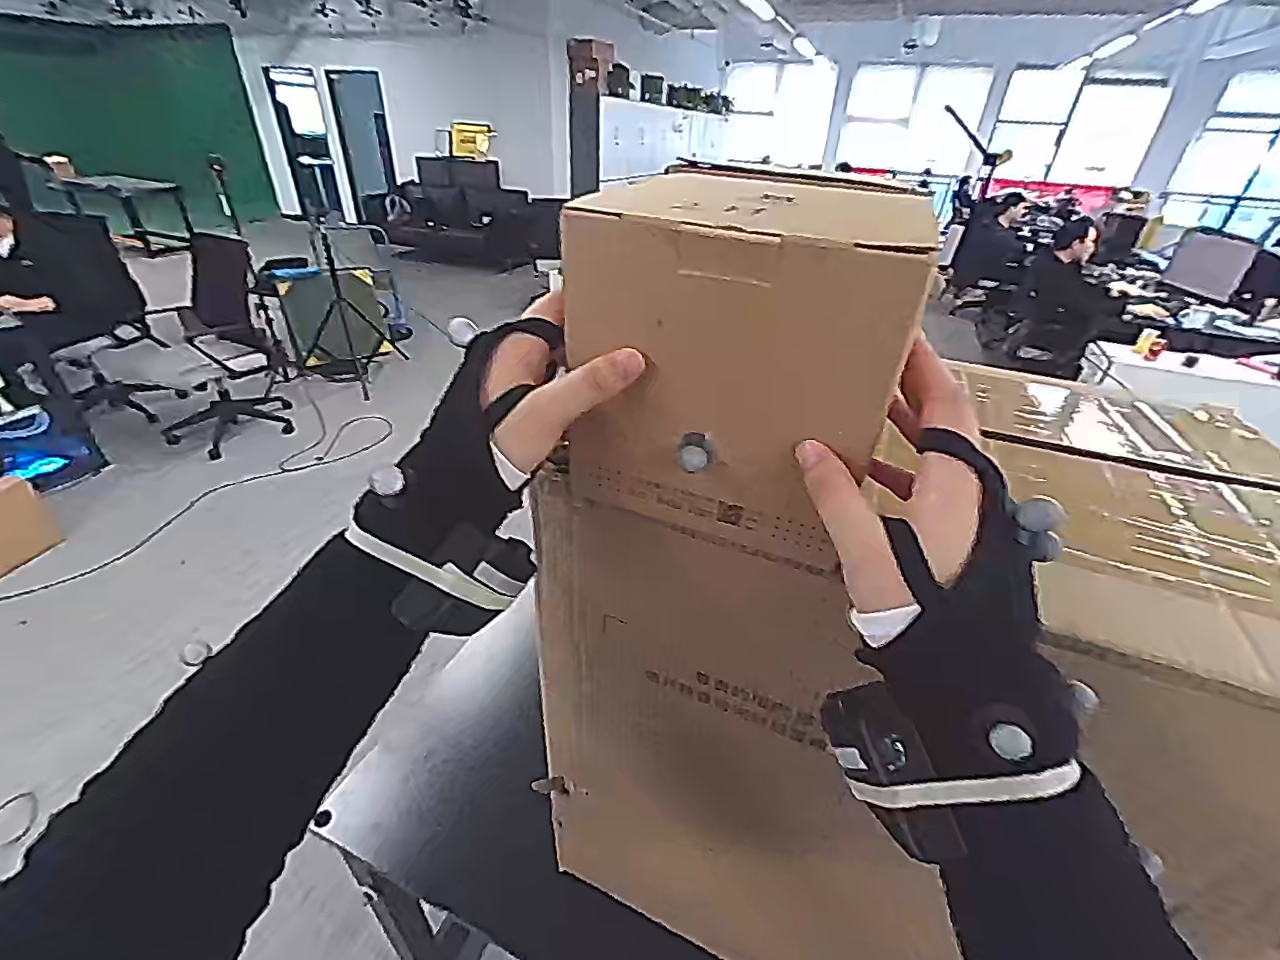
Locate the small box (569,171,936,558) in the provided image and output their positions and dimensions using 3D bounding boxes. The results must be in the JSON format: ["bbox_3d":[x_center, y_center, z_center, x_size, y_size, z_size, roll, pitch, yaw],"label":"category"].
[{"bbox_3d":[0.068,-0.084,0.338,0.168,0.176,0.179,15,38,18],"label":"small box"}]

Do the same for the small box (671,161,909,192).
[{"bbox_3d":[0.128,-0.188,0.497,0.179,0.176,0.168,17,34,18],"label":"small box"}]
